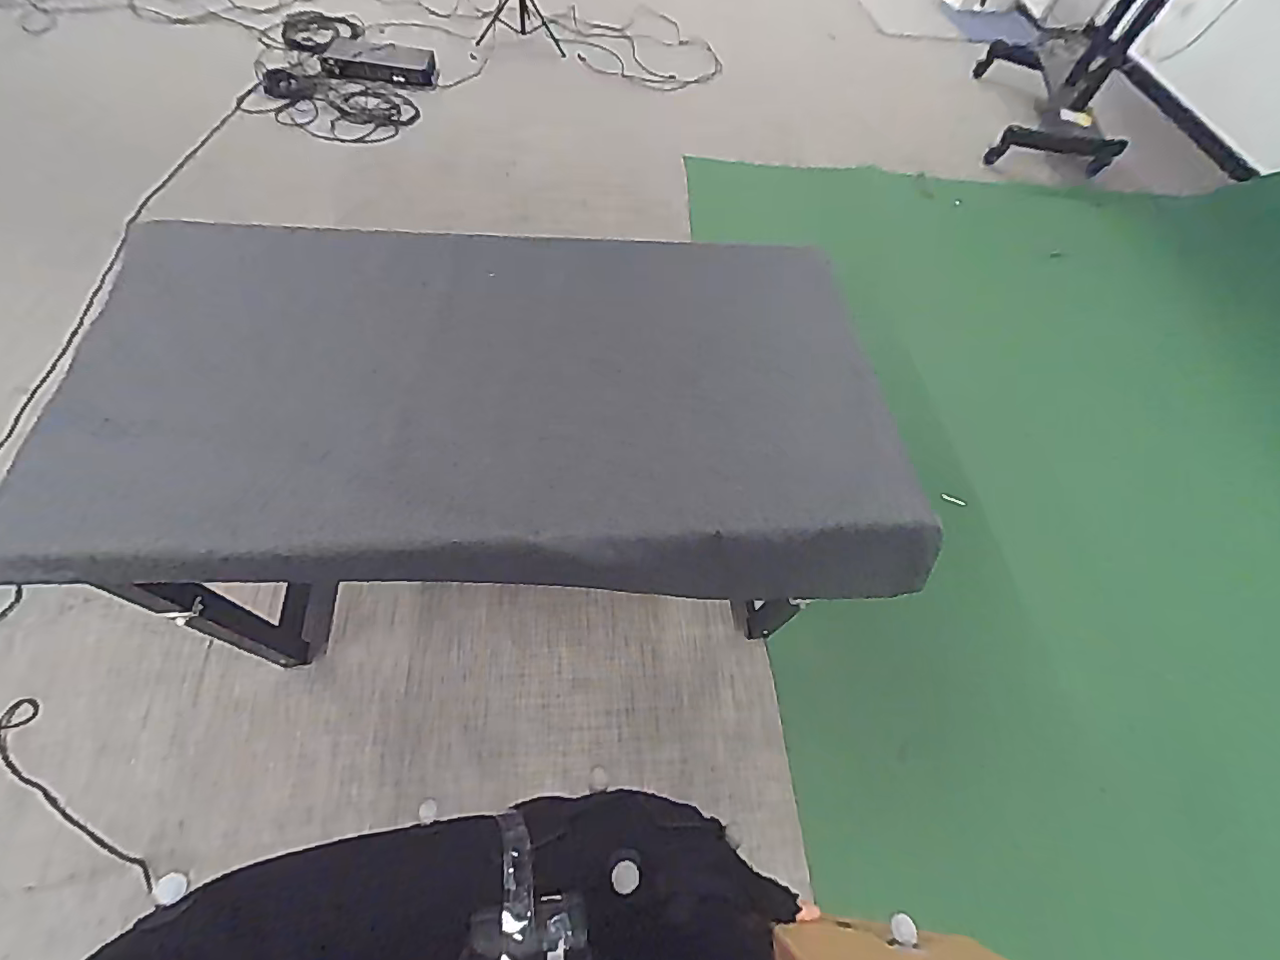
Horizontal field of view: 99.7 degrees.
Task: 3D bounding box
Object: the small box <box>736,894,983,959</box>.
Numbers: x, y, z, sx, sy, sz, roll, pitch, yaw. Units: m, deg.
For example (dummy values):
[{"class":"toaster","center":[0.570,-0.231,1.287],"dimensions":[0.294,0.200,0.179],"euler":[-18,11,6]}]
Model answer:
[{"class":"small box","center":[0.146,0.367,0.295],"dimensions":[0.168,0.176,0.179],"euler":[11,65,-1]}]
